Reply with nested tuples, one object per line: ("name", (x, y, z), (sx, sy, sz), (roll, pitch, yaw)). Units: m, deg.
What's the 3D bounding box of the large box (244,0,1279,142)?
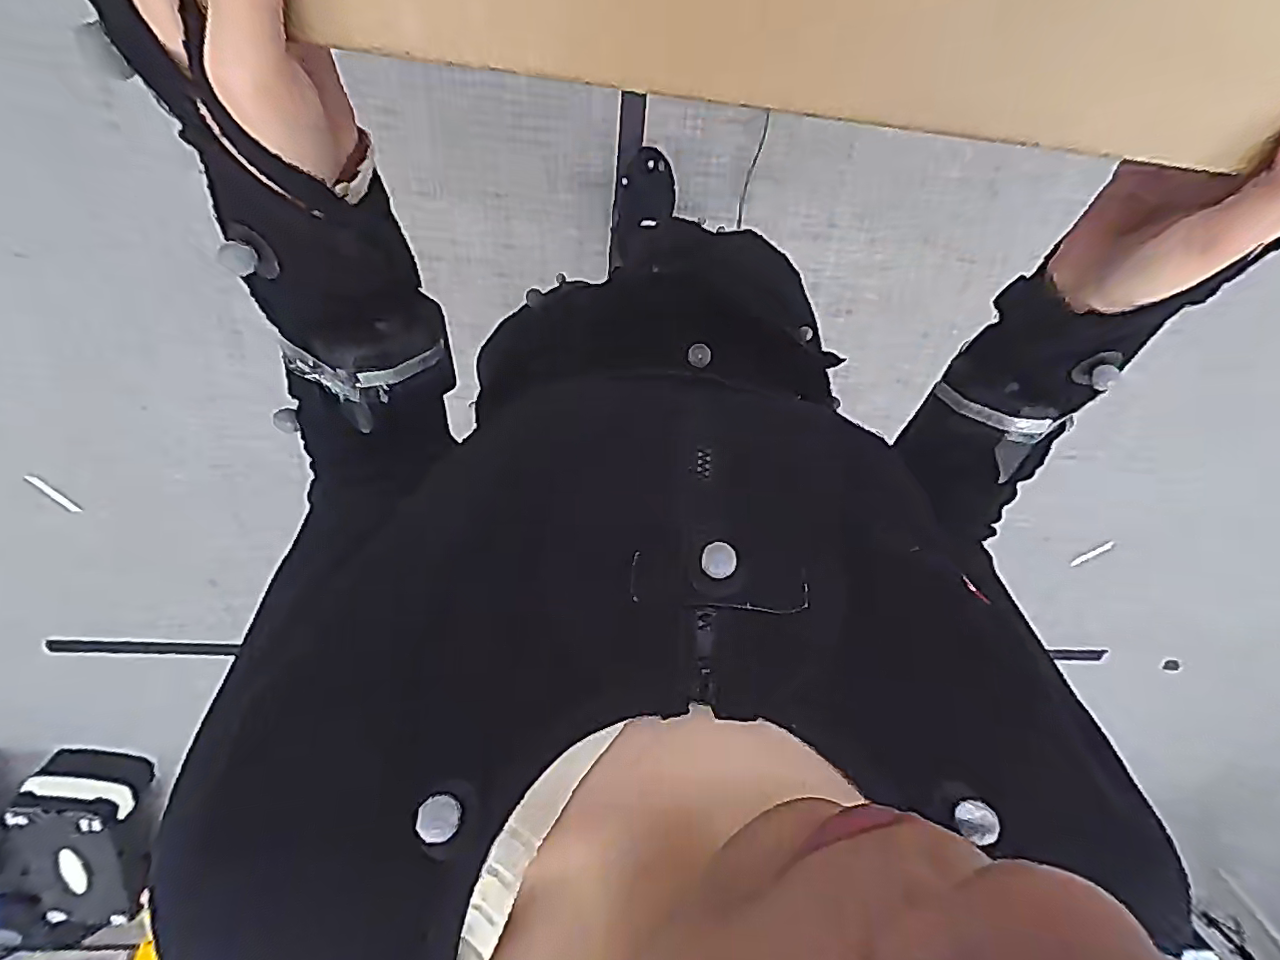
("large box", (0.079, -0.350, 0.171), (0.408, 0.320, 0.320), (3, 141, -6))
